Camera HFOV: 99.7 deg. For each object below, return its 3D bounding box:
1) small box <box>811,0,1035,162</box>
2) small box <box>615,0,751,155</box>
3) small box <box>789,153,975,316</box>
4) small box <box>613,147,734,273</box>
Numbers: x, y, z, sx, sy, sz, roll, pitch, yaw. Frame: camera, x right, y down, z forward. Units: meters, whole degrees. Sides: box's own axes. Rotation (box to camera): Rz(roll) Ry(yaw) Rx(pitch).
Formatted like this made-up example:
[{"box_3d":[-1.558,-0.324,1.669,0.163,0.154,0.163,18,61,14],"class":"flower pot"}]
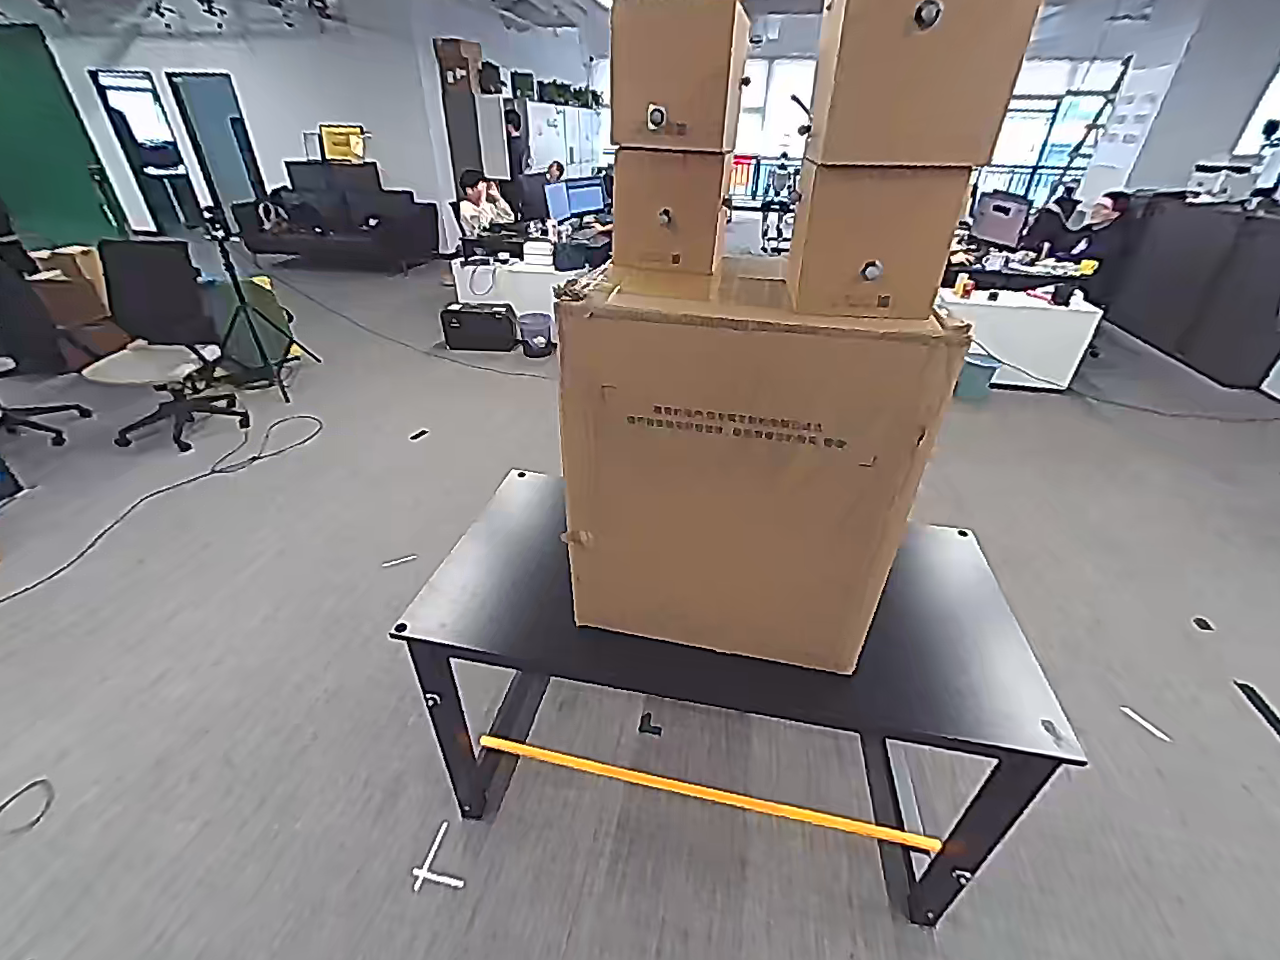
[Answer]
[{"box_3d":[0.291,-0.447,0.589,0.179,0.176,0.168,4,34,6],"class":"small box"},{"box_3d":[0.062,-0.575,0.783,0.168,0.176,0.179,8,33,11],"class":"small box"},{"box_3d":[0.292,-0.322,0.700,0.168,0.176,0.179,4,34,8],"class":"small box"},{"box_3d":[0.057,-0.446,0.885,0.168,0.176,0.179,9,34,9],"class":"small box"}]
